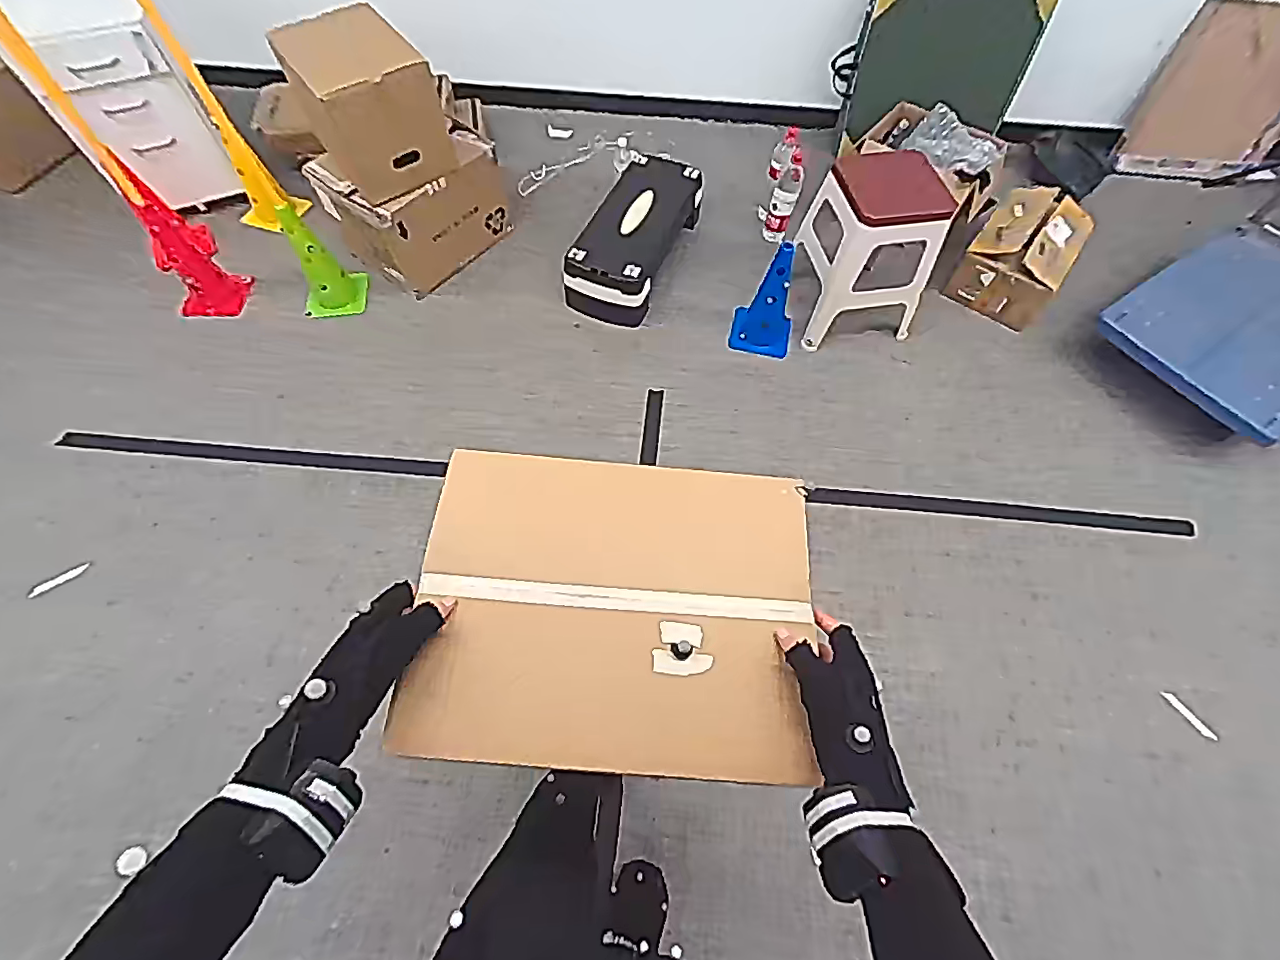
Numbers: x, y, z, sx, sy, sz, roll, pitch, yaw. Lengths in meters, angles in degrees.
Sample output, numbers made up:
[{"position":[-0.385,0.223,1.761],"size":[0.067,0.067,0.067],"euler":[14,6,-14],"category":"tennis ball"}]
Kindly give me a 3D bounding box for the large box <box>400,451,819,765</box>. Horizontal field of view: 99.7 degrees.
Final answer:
[{"position":[-0.030,0.182,0.703],"size":[0.408,0.320,0.320],"euler":[5,65,-2],"category":"large box"}]
